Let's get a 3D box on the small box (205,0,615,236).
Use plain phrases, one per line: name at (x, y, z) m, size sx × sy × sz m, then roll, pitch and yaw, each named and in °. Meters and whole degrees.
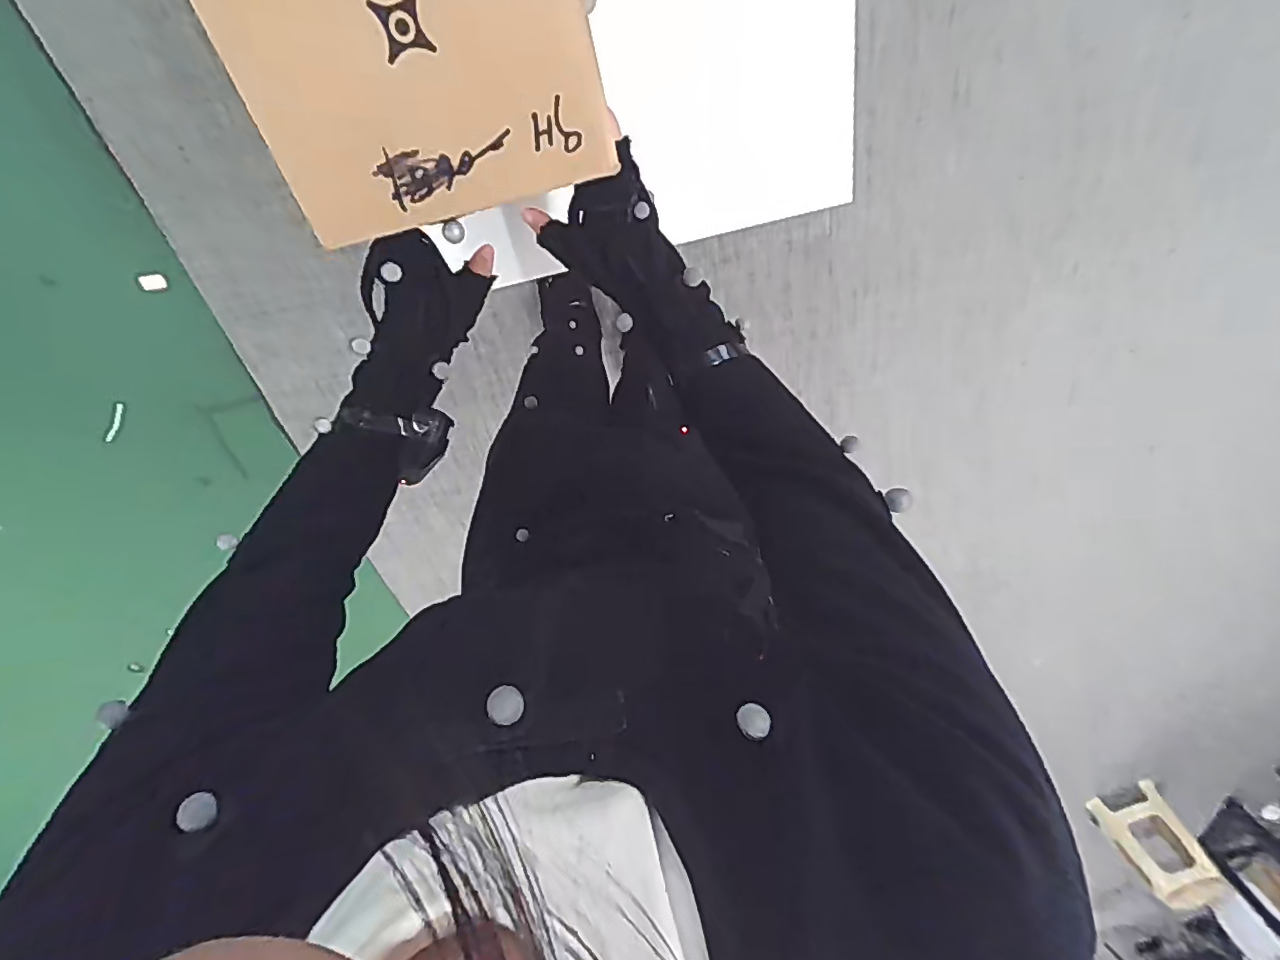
small box at (-0.118, -0.261, 0.311) m, size 0.168 × 0.176 × 0.179 m, roll -14°, pitch 123°, yaw 2°
